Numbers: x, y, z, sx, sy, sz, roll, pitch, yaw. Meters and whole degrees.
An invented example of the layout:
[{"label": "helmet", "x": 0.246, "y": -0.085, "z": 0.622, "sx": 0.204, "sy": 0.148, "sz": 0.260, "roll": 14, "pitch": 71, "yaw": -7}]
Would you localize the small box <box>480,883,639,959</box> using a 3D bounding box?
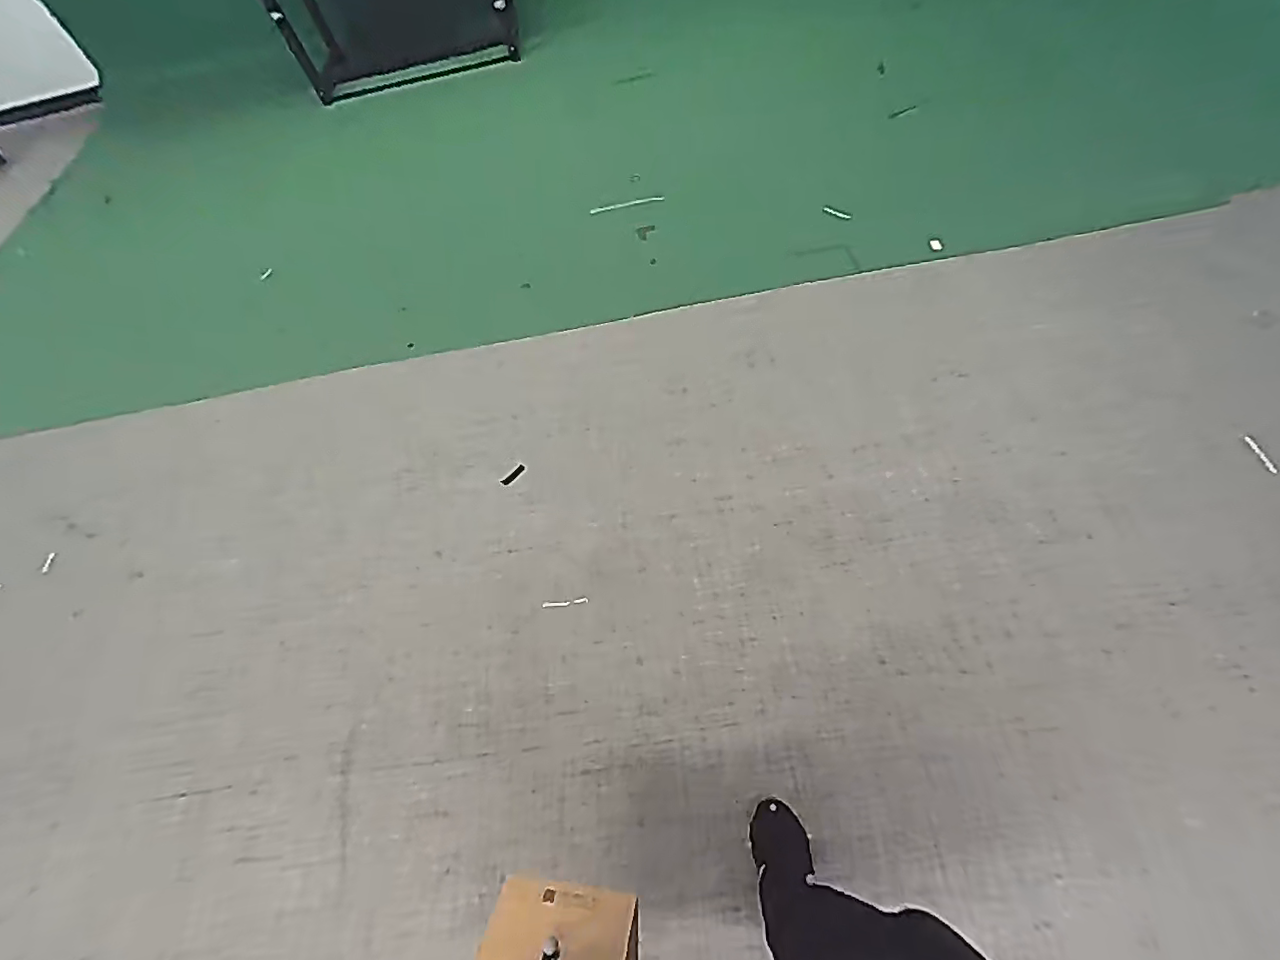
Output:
[{"label": "small box", "x": -0.095, "y": 0.599, "z": 0.606, "sx": 0.168, "sy": 0.179, "sz": 0.176, "roll": 2, "pitch": 18, "yaw": 9}]
